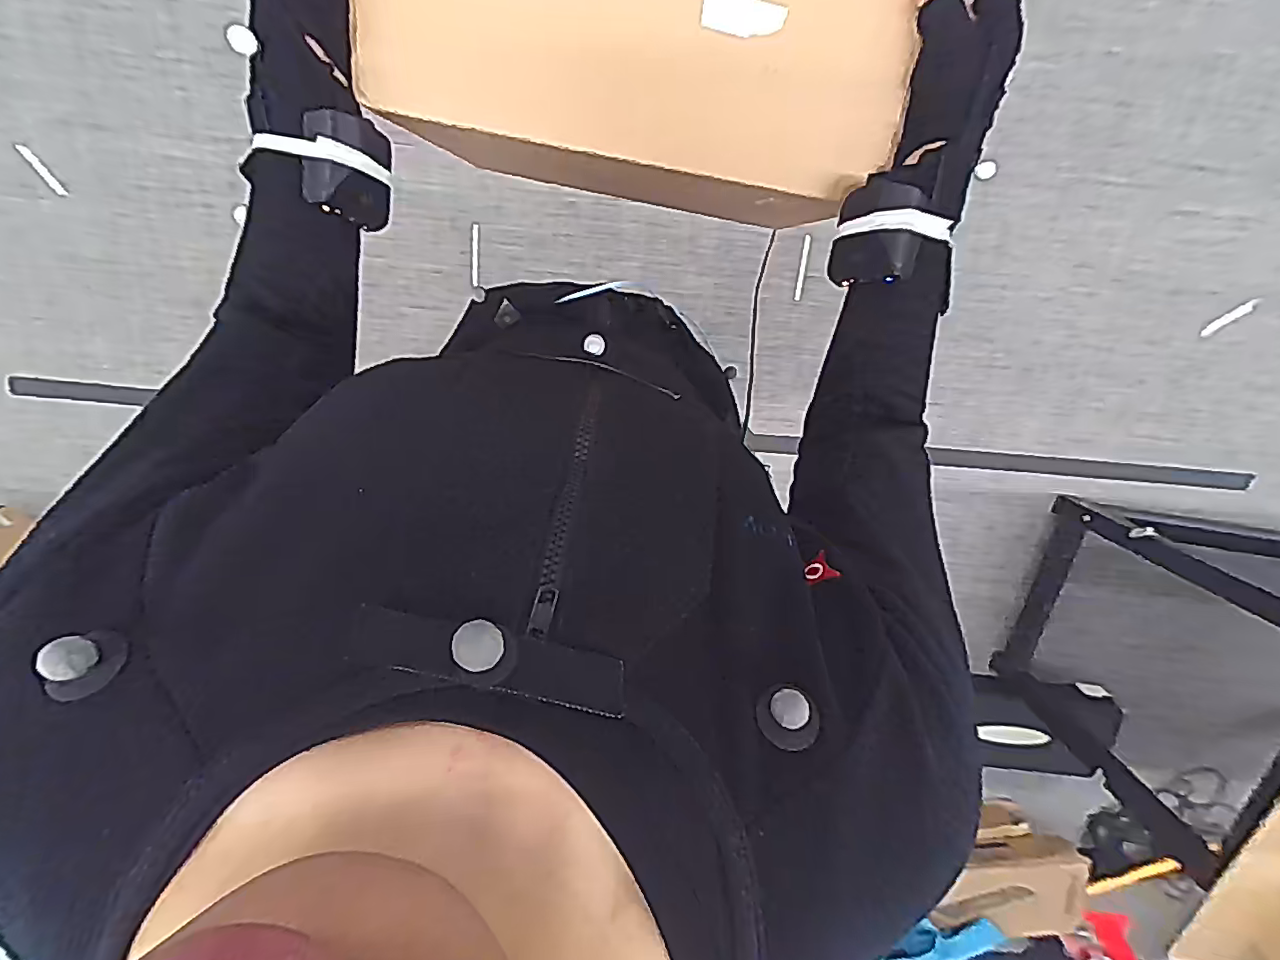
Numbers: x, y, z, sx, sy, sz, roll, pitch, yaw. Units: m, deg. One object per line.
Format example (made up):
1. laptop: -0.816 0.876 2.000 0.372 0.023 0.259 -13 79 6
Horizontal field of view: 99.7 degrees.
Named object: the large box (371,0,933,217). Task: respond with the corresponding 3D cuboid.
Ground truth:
1. large box: 0.016 -0.452 0.499 0.408 0.320 0.320 9 113 -4
